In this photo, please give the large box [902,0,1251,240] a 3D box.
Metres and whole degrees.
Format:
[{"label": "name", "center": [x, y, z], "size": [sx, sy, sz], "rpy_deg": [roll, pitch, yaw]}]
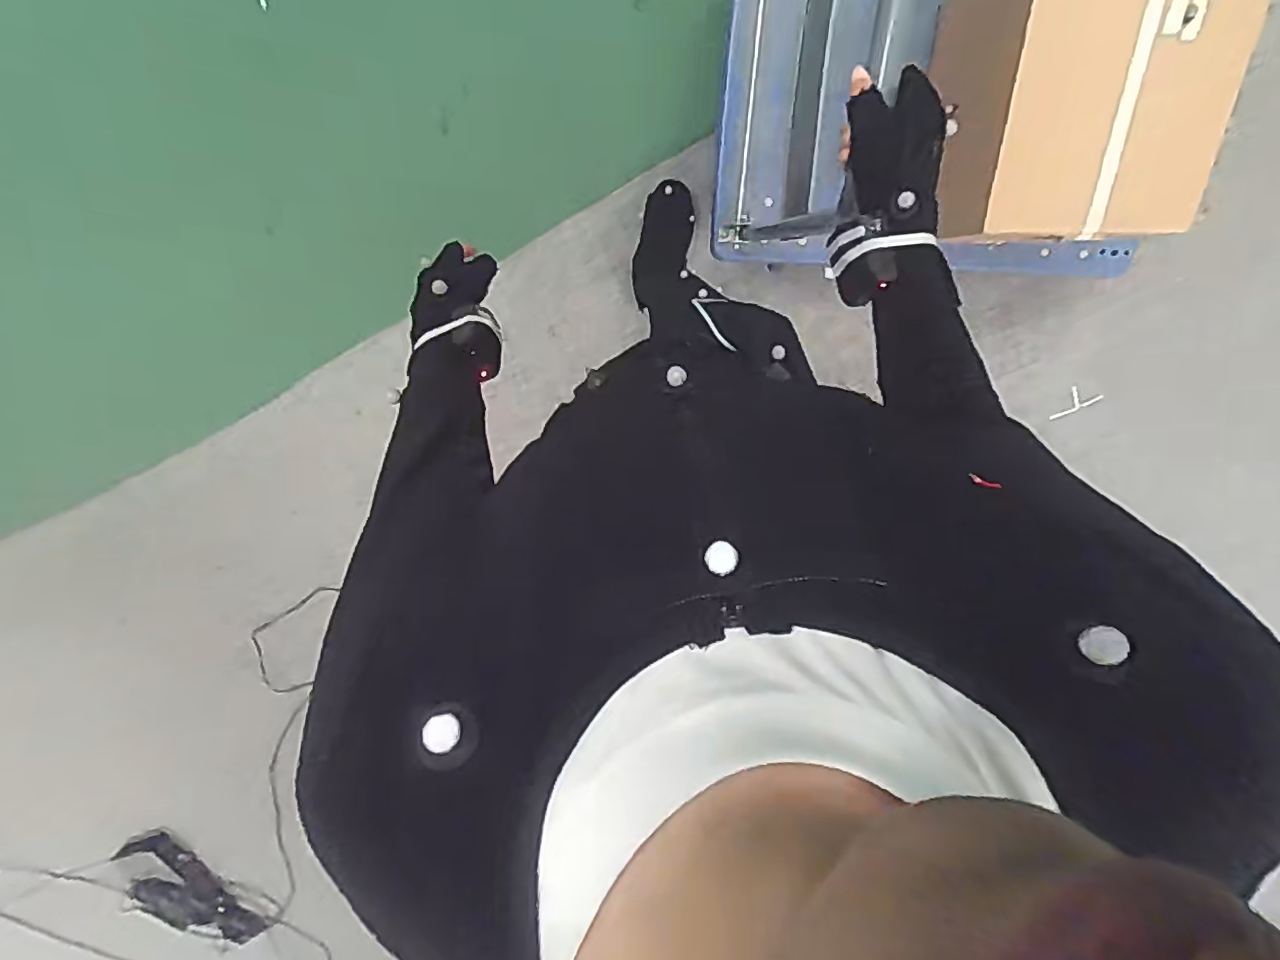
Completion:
[{"label": "large box", "center": [0.680, -0.629, 0.902], "size": [0.320, 0.320, 0.408], "rpy_deg": [1, 111, 1]}]
